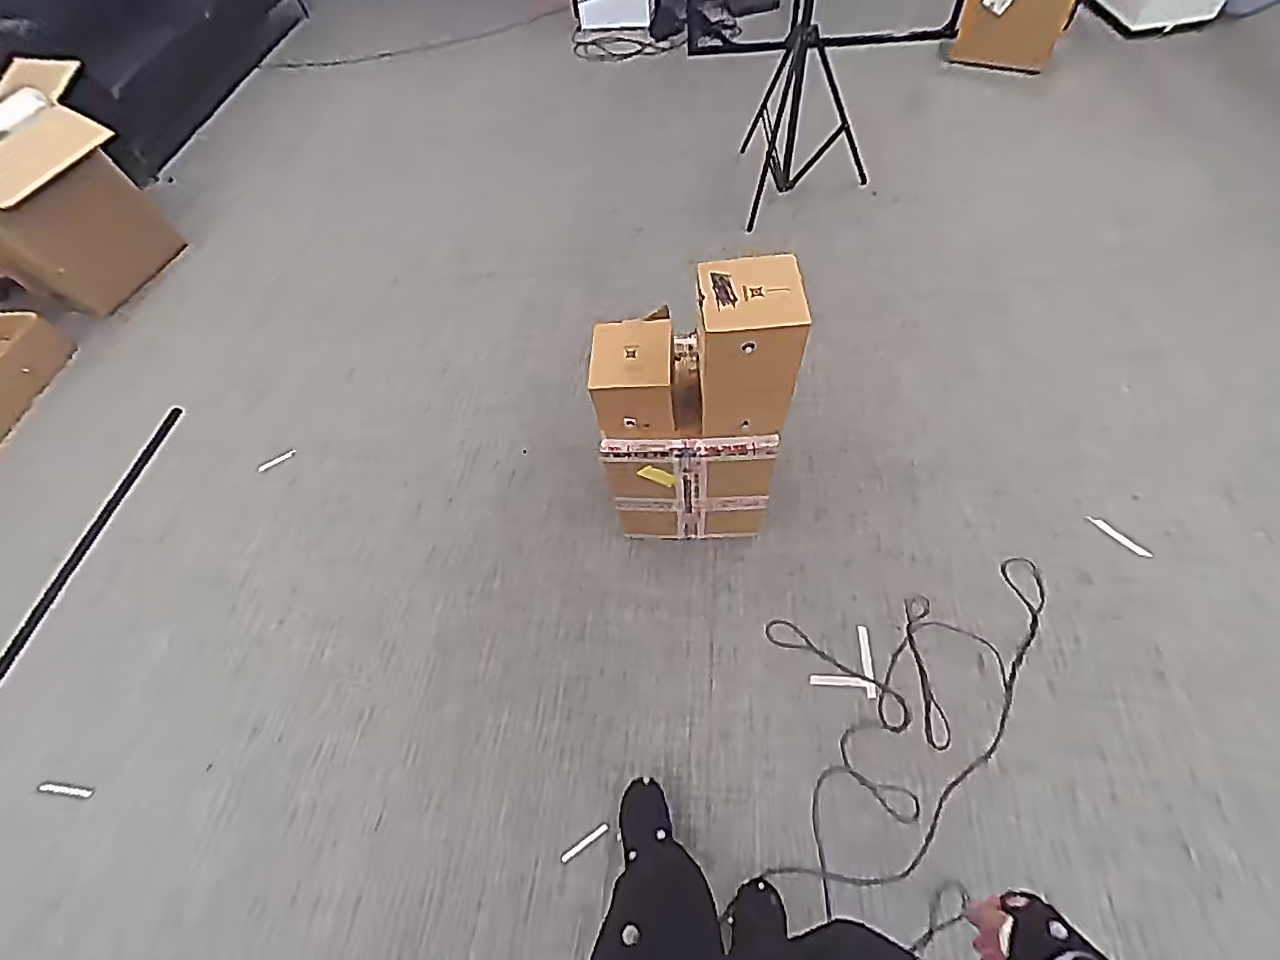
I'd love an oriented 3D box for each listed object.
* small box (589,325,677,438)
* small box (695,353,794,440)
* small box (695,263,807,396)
[{"bbox_3d":[-0.008,-0.210,1.176,0.168,0.176,0.179,-2,63,8],"label":"small box"},{"bbox_3d":[0.212,-0.198,1.146,0.179,0.176,0.168,-4,62,3],"label":"small box"},{"bbox_3d":[0.195,-0.270,0.998,0.179,0.176,0.168,-4,63,3],"label":"small box"}]
